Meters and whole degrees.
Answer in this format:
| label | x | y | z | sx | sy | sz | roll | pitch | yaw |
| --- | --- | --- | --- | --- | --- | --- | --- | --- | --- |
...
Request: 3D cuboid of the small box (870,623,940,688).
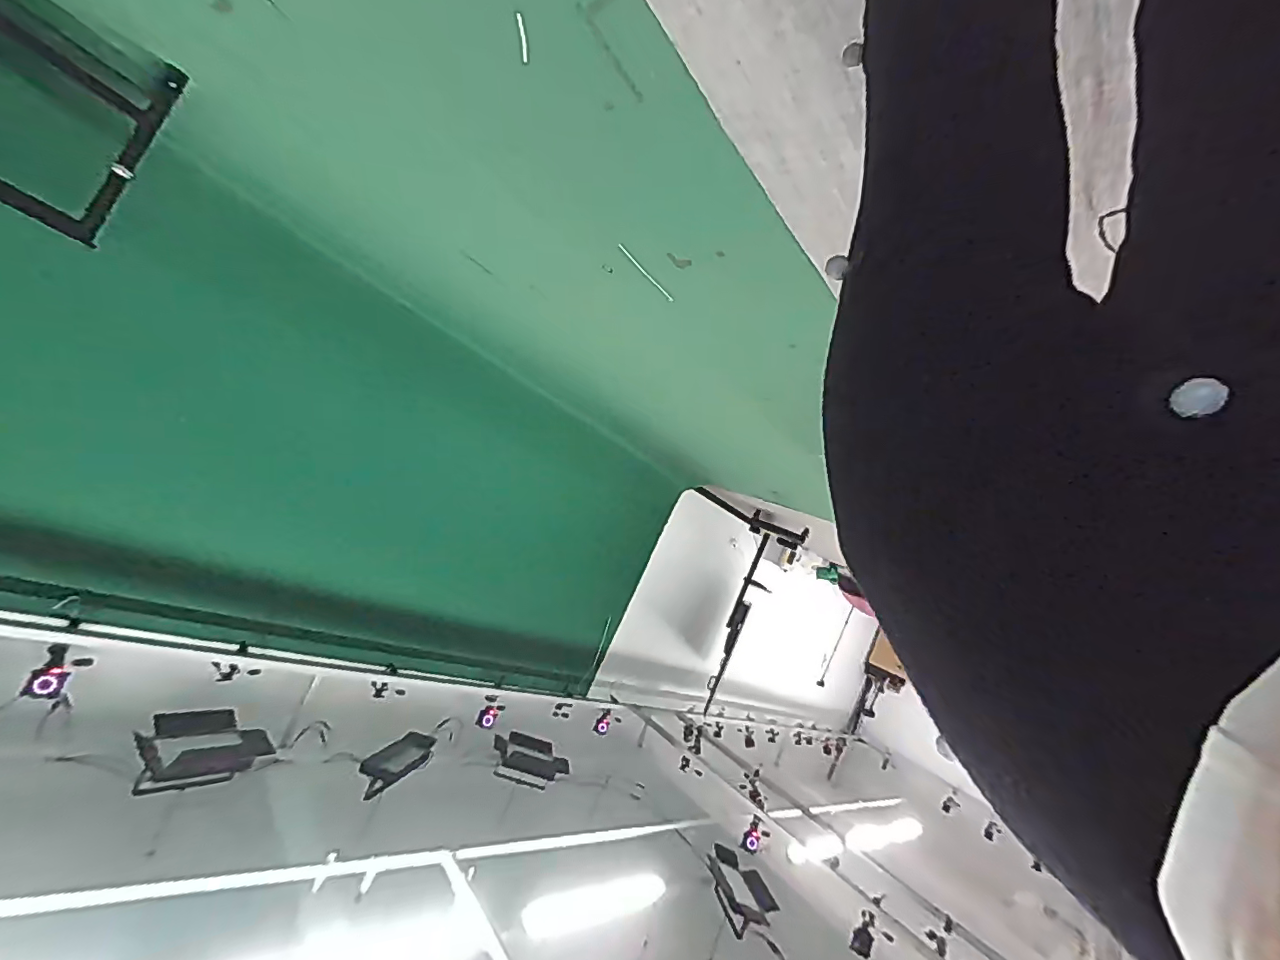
| label | x | y | z | sx | sy | sz | roll | pitch | yaw |
| --- | --- | --- | --- | --- | --- | --- | --- | --- | --- |
| small box | 0.980 | 0.644 | 1.992 | 0.168 | 0.176 | 0.179 | 17 | 172 | 44 |
